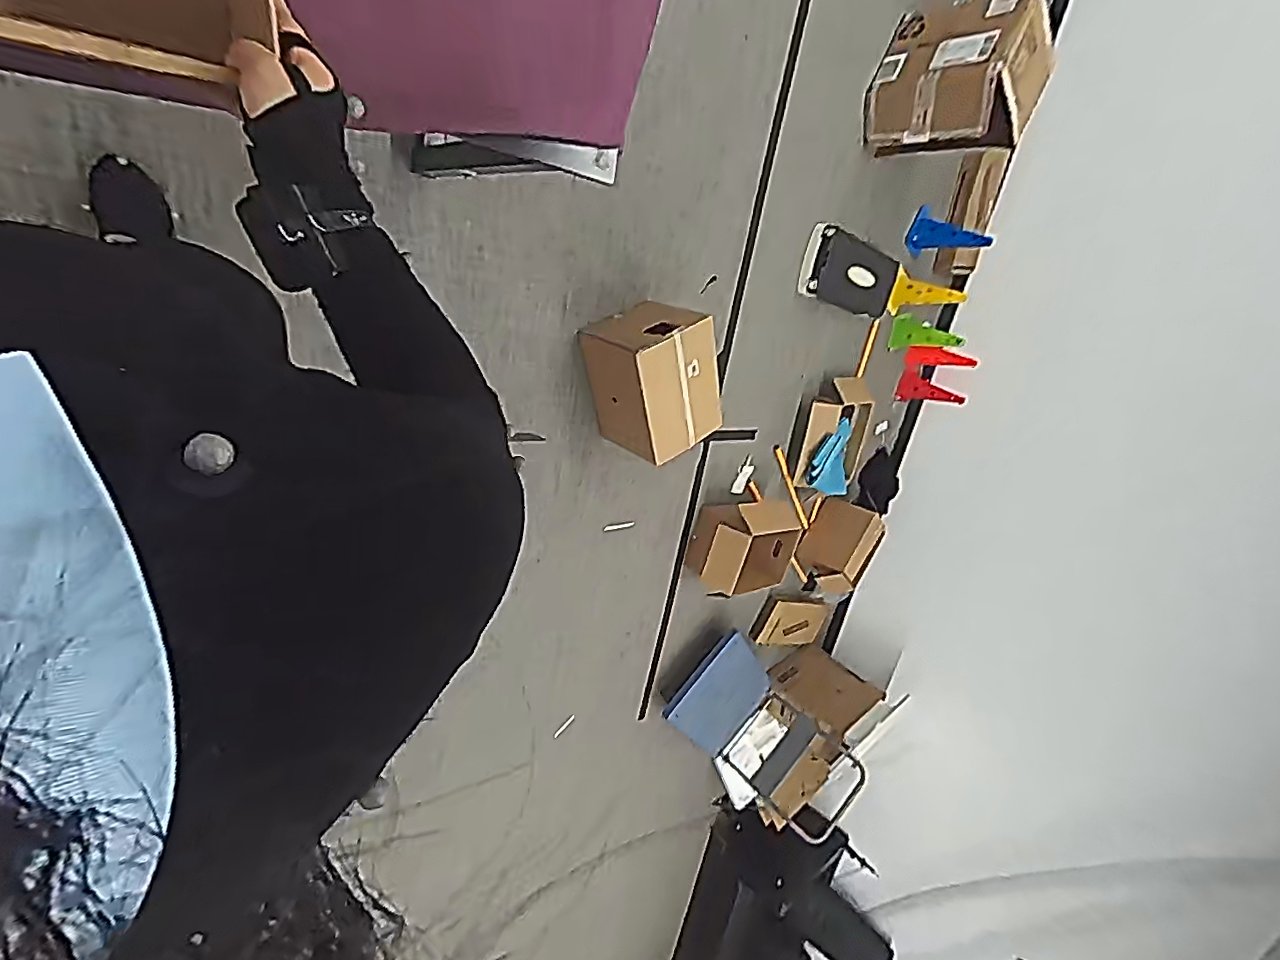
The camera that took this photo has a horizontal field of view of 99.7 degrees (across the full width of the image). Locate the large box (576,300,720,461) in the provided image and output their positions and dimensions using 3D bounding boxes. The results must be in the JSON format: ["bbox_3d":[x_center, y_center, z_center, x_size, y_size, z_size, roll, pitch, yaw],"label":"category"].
[{"bbox_3d":[0.033,-0.339,1.806,0.320,0.320,0.408,-34,131,-26],"label":"large box"}]
